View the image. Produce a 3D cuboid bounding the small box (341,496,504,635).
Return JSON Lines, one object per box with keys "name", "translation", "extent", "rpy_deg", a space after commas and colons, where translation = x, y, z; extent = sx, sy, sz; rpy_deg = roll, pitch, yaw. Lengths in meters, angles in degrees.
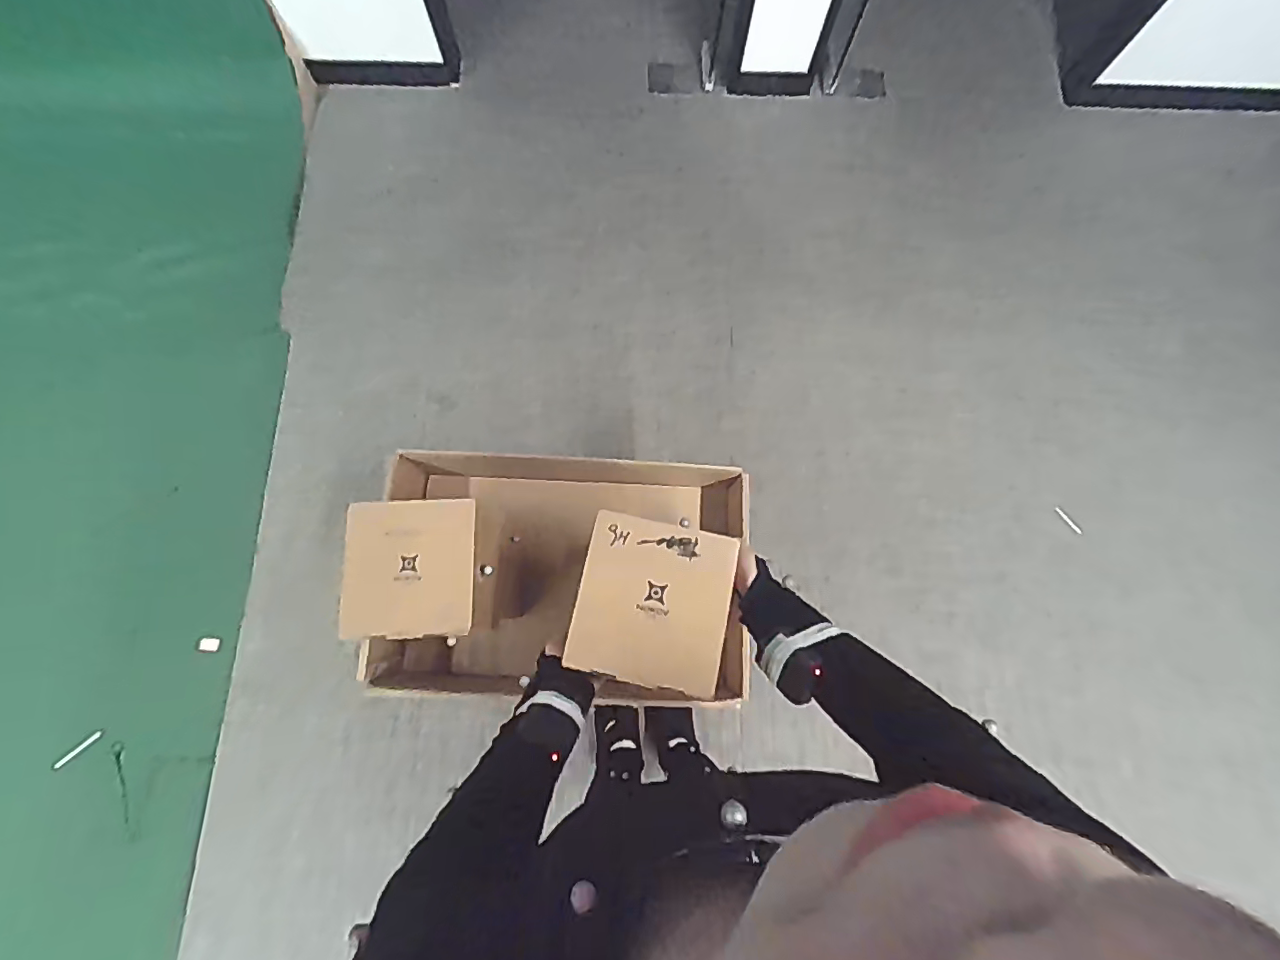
{"name": "small box", "translation": [-0.294, 0.123, 0.768], "extent": [0.168, 0.176, 0.179], "rpy_deg": [-1, 77, -2]}
